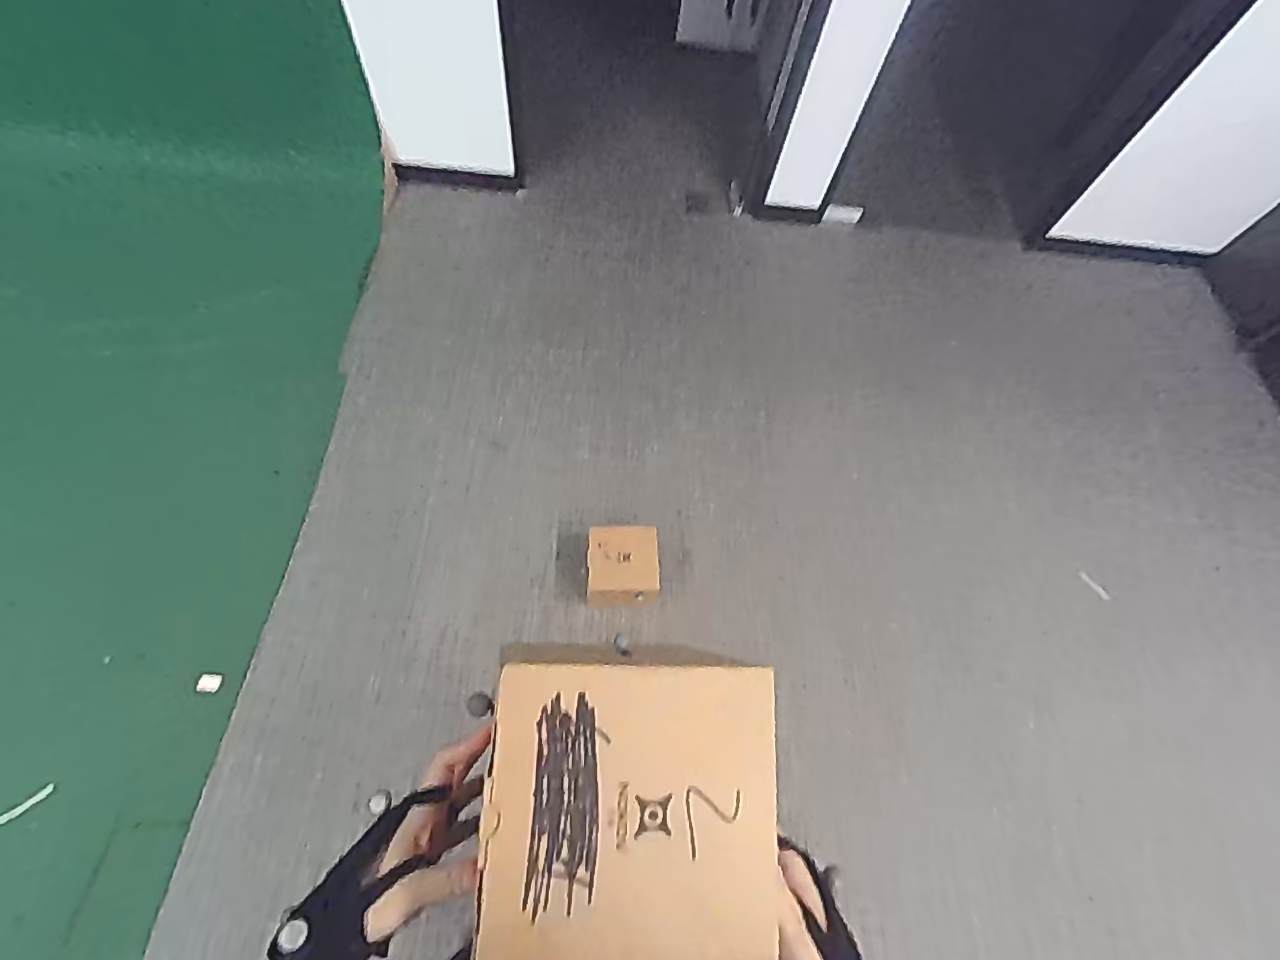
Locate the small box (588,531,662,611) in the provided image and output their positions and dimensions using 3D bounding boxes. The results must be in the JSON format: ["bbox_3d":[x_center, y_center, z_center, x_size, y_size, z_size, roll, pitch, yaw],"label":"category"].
[{"bbox_3d":[-0.044,0.239,1.399,0.179,0.176,0.168,1,63,-6],"label":"small box"}]
